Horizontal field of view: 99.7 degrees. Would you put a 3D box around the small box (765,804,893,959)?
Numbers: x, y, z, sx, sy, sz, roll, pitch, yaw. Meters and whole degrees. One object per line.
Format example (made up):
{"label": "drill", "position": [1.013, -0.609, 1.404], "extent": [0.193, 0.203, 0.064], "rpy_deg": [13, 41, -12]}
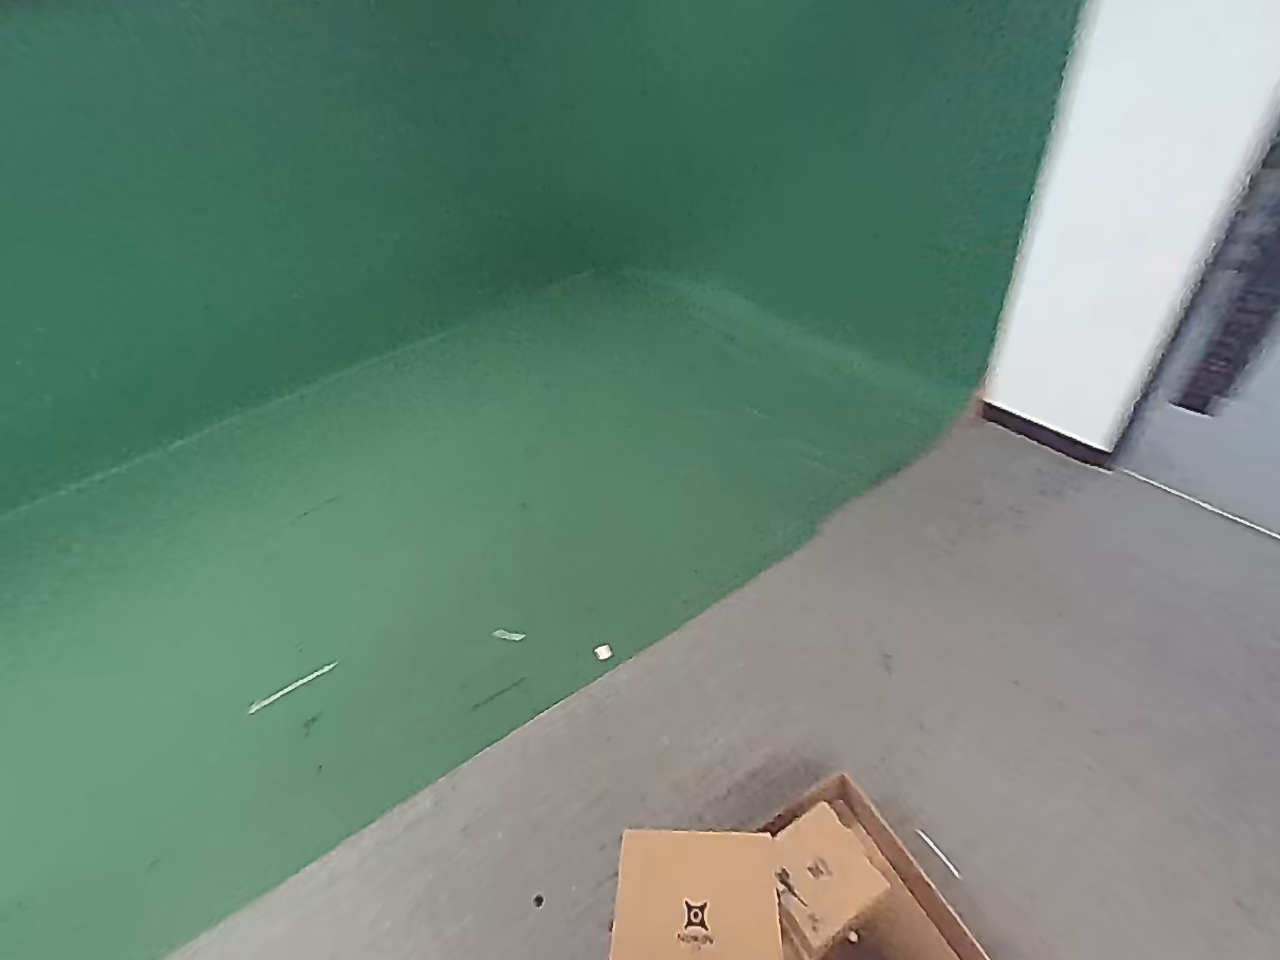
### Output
{"label": "small box", "position": [0.345, 0.770, 1.031], "extent": [0.179, 0.176, 0.168], "rpy_deg": [-26, 41, -14]}

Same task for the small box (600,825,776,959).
{"label": "small box", "position": [0.056, 0.495, 0.565], "extent": [0.168, 0.176, 0.179], "rpy_deg": [-5, 33, 8]}
